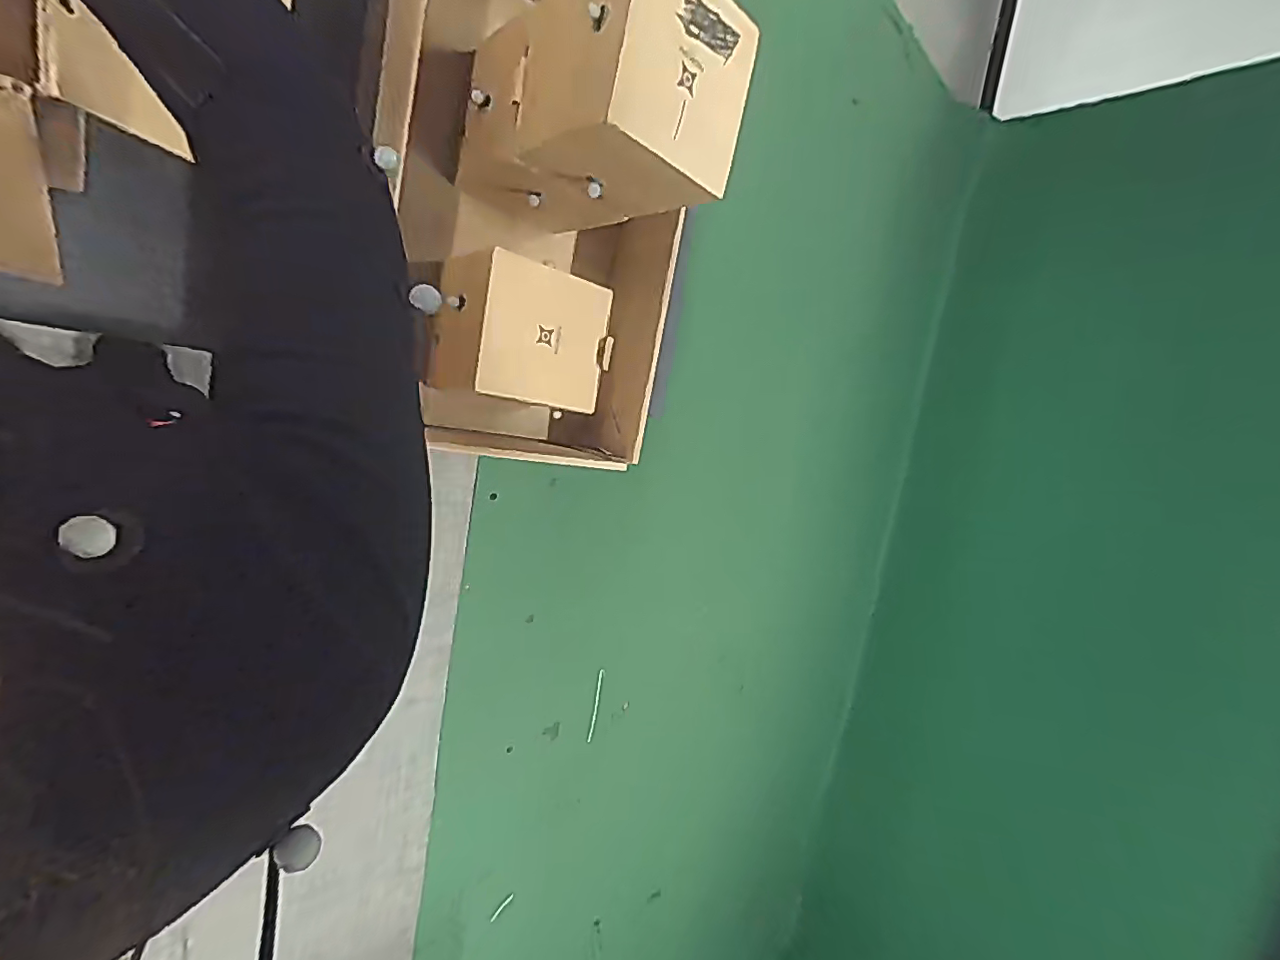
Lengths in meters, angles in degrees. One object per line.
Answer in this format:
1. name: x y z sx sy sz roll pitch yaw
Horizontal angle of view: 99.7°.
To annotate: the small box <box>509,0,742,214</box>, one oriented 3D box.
1. small box: -0.021 -0.414 0.586 0.168 0.176 0.179 6 100 -45
